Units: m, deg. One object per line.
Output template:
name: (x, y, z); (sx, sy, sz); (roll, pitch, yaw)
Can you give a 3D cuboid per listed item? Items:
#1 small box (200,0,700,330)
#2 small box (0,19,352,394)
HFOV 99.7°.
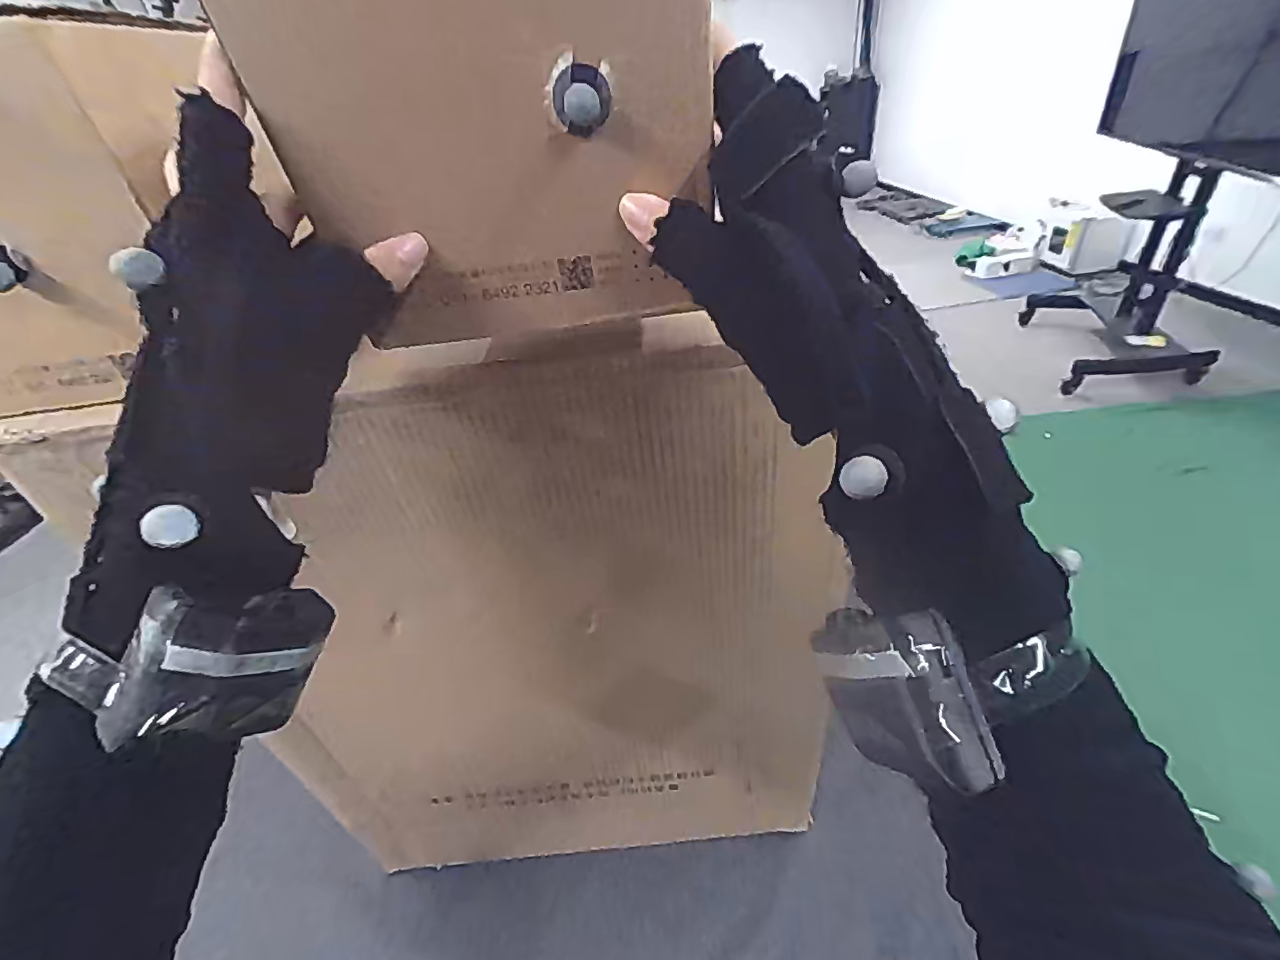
small box: (-0.060, -0.185, 0.268); (0.168, 0.176, 0.179); (-5, 42, 2)
small box: (-0.318, -0.164, 0.340); (0.168, 0.176, 0.179); (-6, 38, 2)
